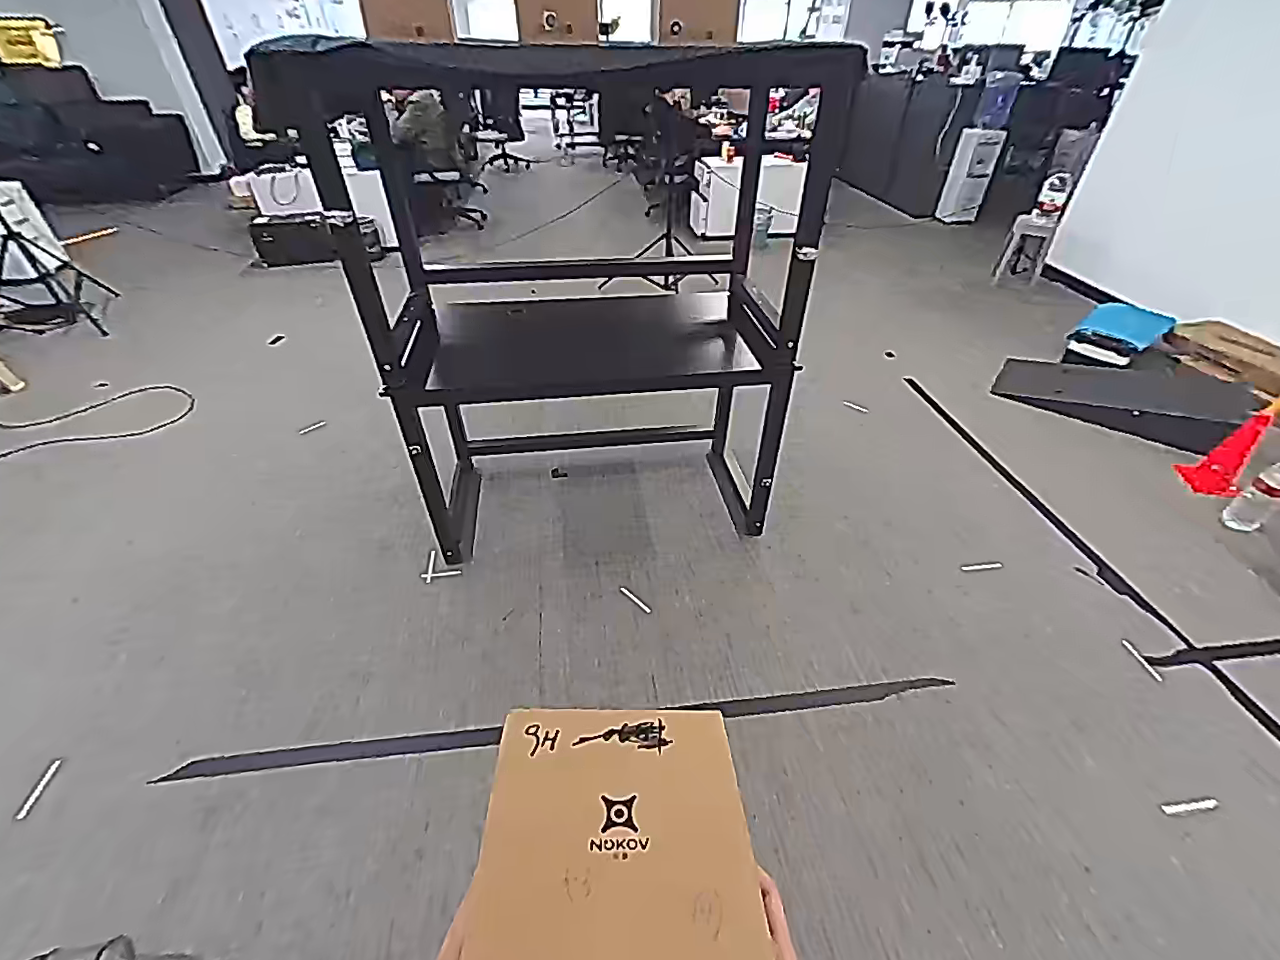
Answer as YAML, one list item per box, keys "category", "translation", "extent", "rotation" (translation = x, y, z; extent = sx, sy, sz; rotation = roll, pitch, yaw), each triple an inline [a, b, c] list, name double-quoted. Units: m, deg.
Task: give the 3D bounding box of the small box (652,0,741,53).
- category: "small box"
  translation: [0.115, -1.007, 1.133]
  extent: [0.168, 0.176, 0.179]
  rotation: [-3, 39, -5]

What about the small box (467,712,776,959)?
- category: "small box"
  translation: [-0.016, 0.289, 0.373]
  extent: [0.168, 0.176, 0.179]
  rotation: [3, 30, -5]

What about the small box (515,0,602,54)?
- category: "small box"
  translation: [-0.164, -0.978, 1.098]
  extent: [0.168, 0.176, 0.179]
  rotation: [-4, 39, -4]
